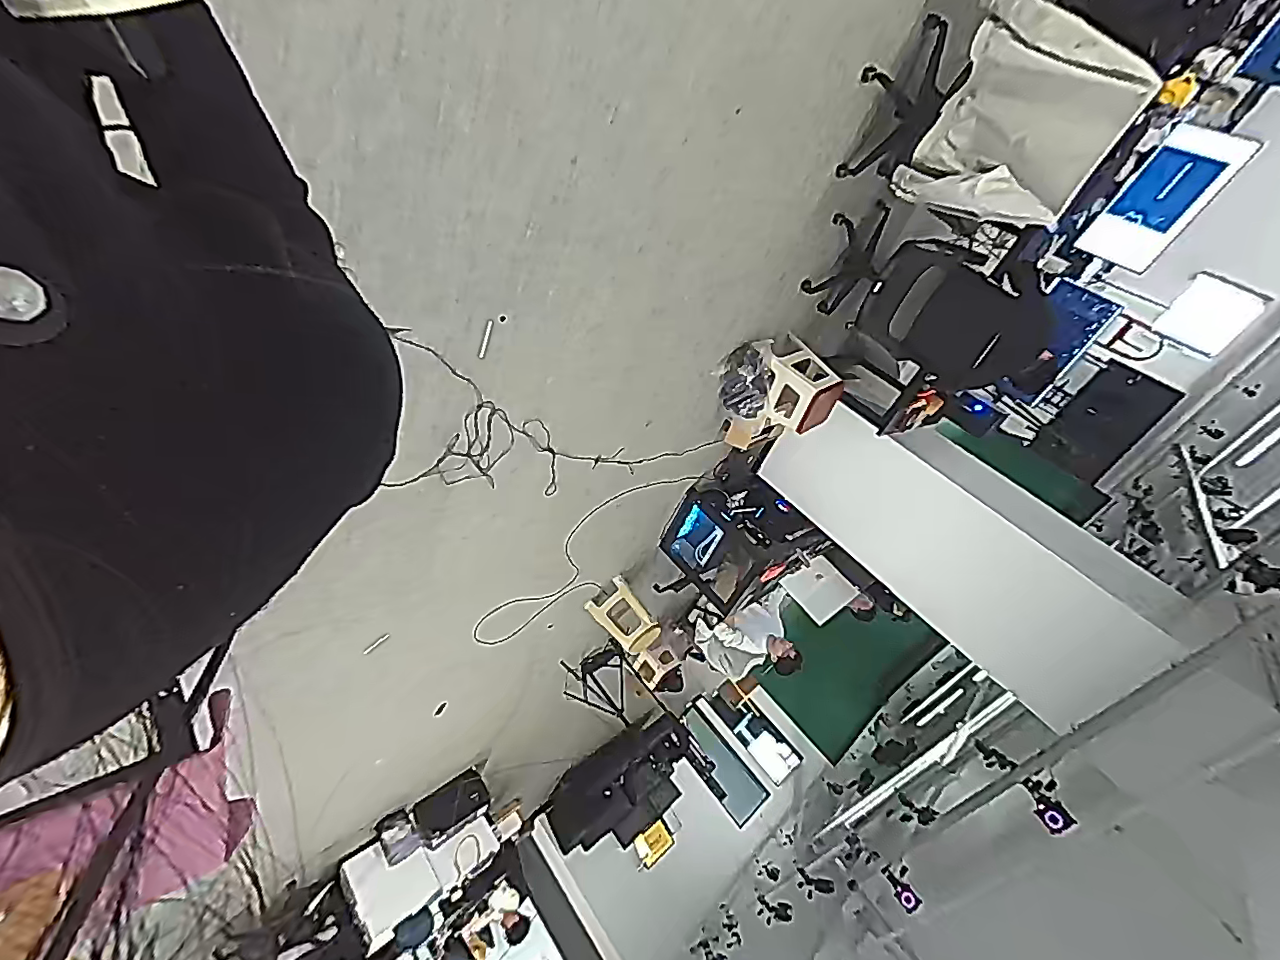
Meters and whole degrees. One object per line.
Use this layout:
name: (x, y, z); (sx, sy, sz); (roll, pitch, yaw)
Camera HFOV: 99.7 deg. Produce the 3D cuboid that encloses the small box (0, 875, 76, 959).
small box: (-1.187, 0.893, 1.012); (0.168, 0.176, 0.179); (-11, 137, -47)
